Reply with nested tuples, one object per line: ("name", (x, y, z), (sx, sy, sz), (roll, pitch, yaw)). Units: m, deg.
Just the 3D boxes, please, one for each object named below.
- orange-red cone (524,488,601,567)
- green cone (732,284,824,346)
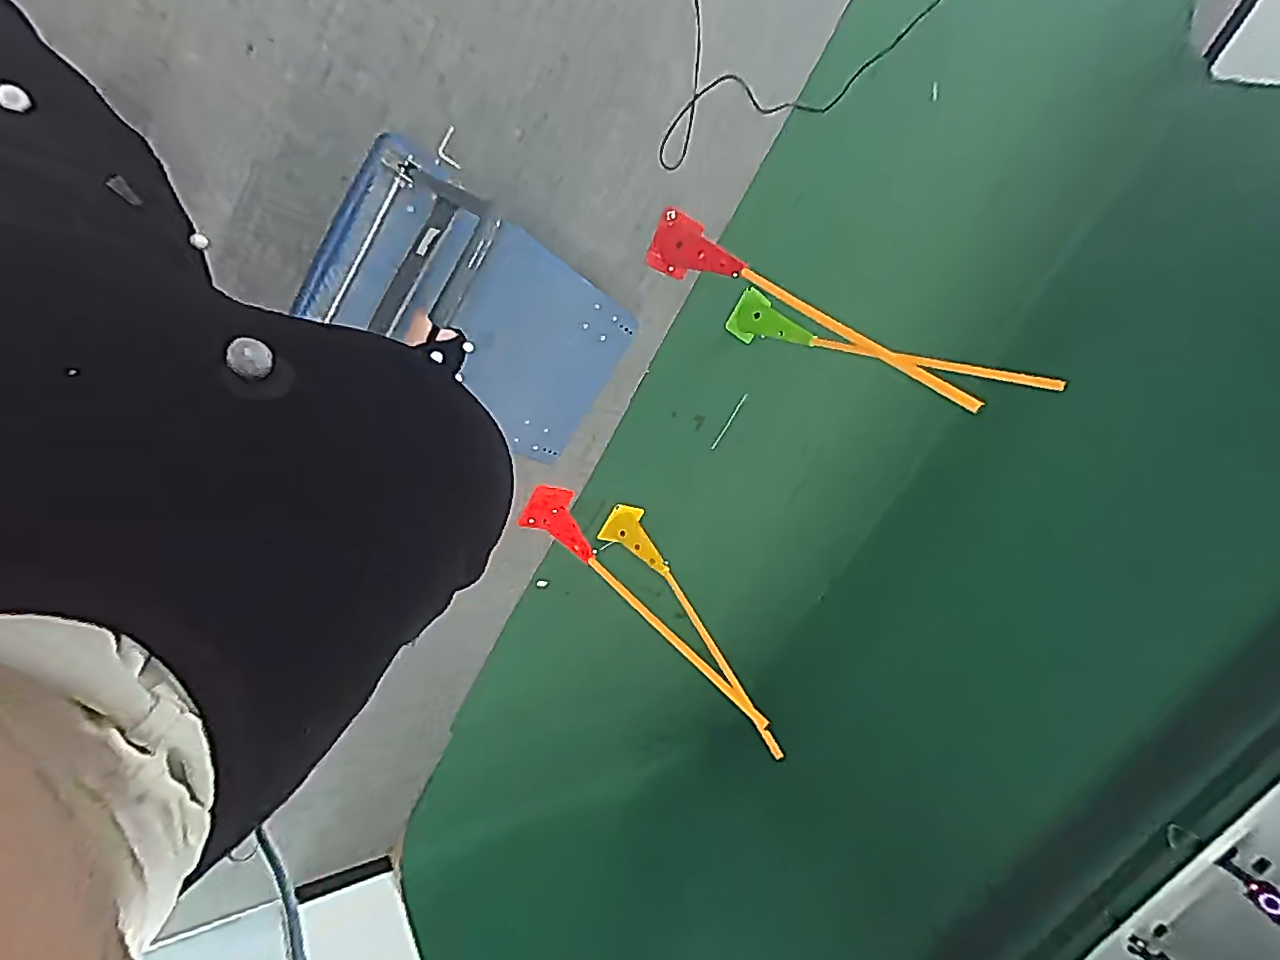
("orange-red cone", (-0.260, 0.212, 2.098), (0.199, 0.360, 0.198), (13, 112, -49))
("green cone", (0.585, -0.621, 2.189), (0.202, 0.368, 0.200), (13, 111, -48))
